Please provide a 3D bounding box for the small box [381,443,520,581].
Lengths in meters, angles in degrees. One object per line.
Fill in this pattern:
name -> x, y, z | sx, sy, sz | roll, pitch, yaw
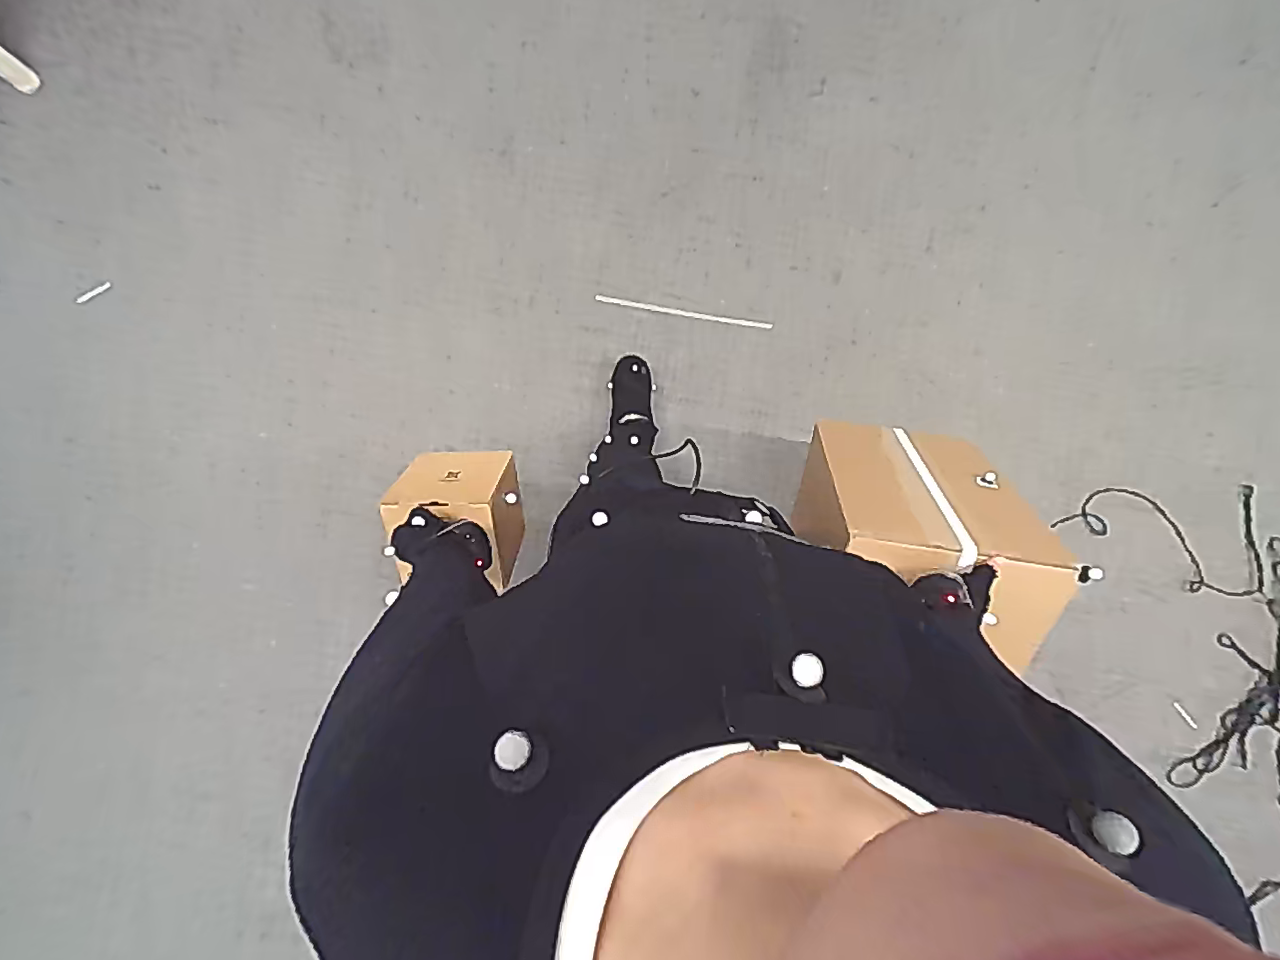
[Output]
small box -> -0.304, 0.049, 0.909 | 0.168, 0.179, 0.176 | 0, 119, 1
